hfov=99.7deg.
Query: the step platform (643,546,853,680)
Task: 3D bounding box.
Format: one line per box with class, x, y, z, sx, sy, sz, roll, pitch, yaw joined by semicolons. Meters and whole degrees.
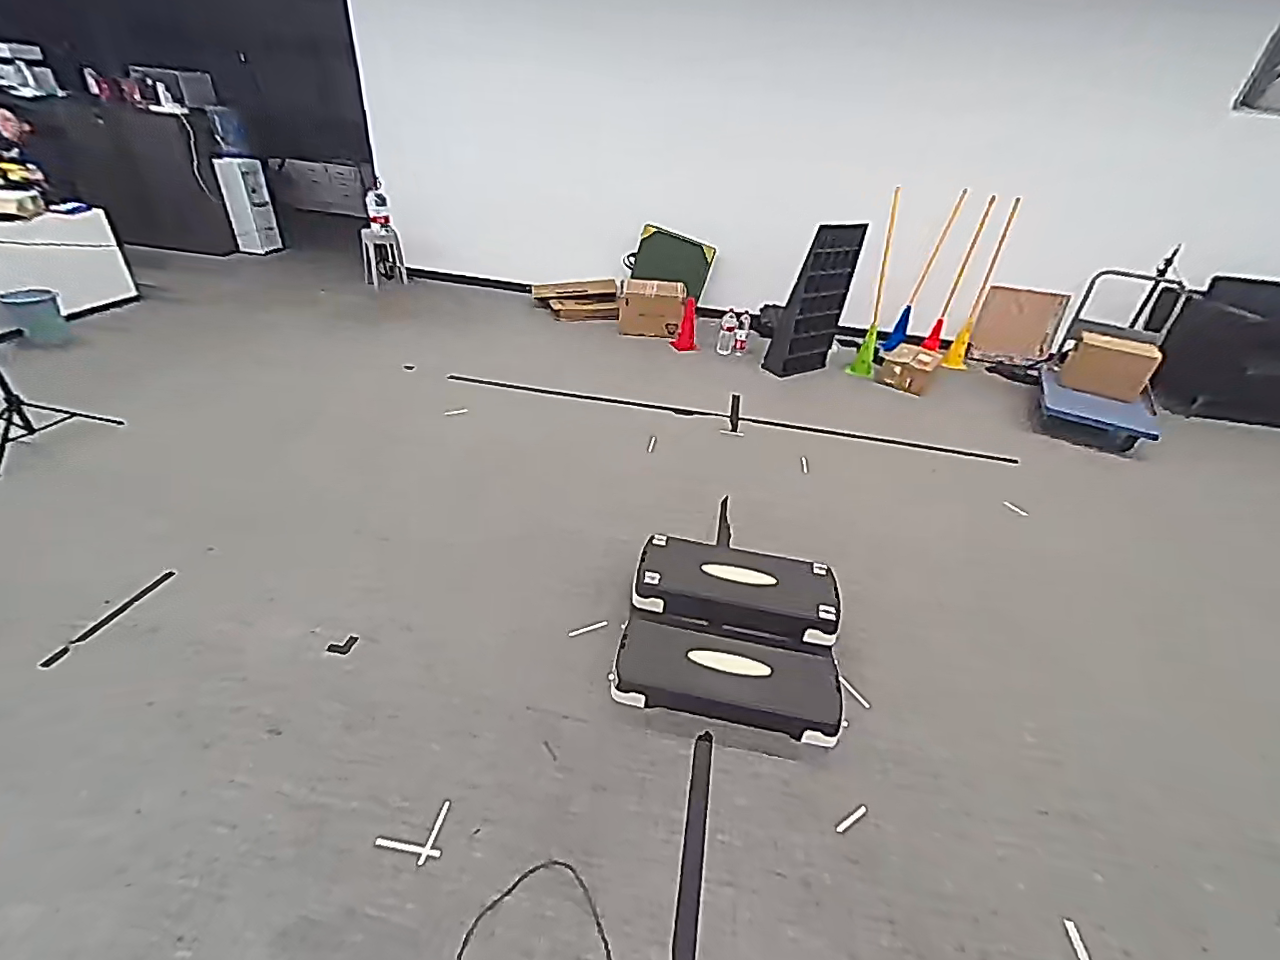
step platform;0.363;0.437;1.846;0.684;0.204;0.286;12;33;10
